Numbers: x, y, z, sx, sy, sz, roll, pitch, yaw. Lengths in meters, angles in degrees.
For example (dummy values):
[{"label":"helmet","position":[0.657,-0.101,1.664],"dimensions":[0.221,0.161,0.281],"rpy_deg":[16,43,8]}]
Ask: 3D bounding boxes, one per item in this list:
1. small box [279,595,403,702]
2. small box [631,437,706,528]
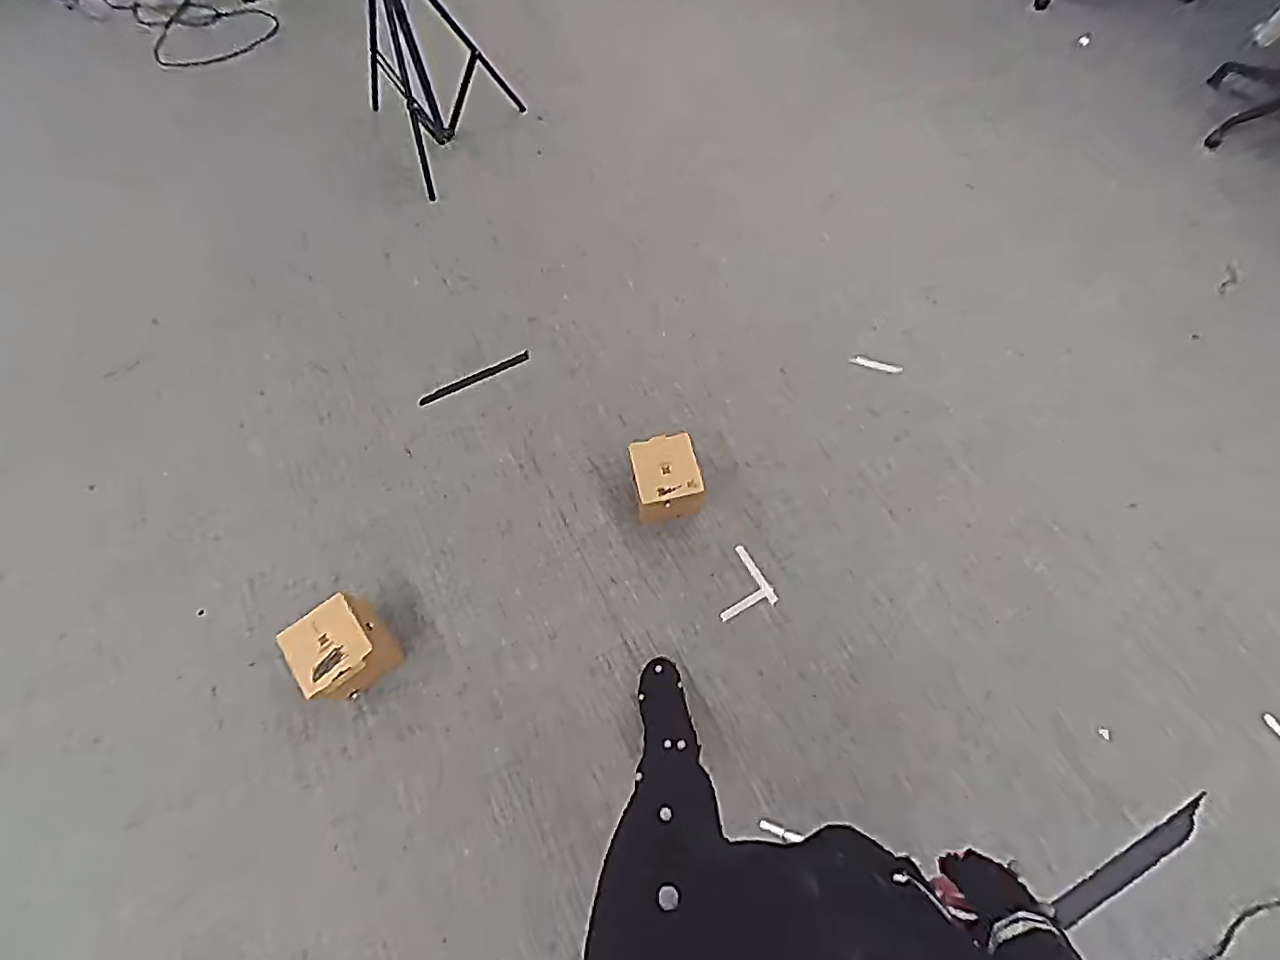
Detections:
[{"label":"small box","position":[-0.704,0.405,1.291],"dimensions":[0.168,0.176,0.179],"rpy_deg":[-37,70,-15]},{"label":"small box","position":[0.069,0.010,1.461],"dimensions":[0.168,0.176,0.179],"rpy_deg":[-11,66,-5]}]
